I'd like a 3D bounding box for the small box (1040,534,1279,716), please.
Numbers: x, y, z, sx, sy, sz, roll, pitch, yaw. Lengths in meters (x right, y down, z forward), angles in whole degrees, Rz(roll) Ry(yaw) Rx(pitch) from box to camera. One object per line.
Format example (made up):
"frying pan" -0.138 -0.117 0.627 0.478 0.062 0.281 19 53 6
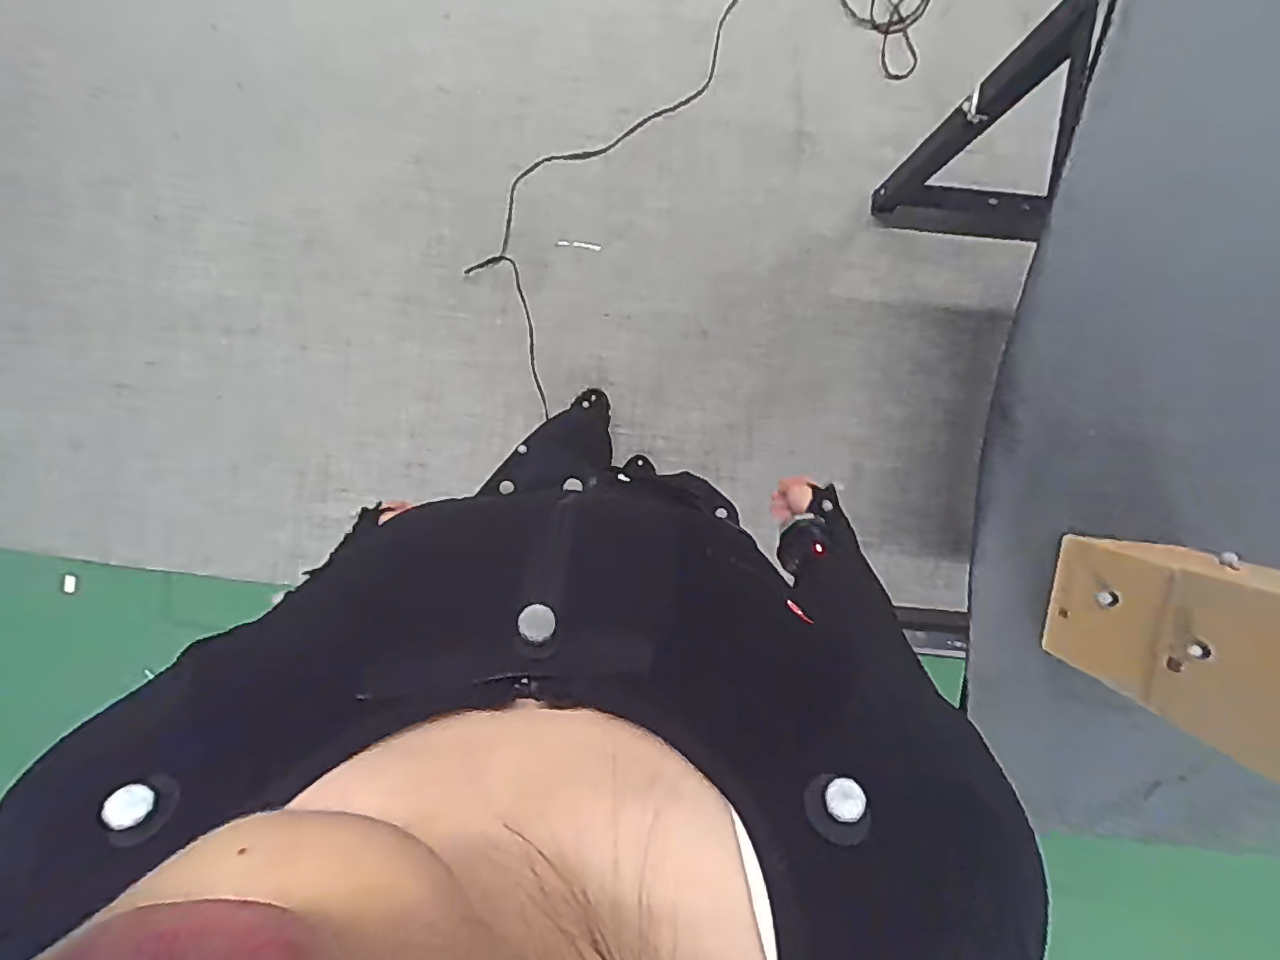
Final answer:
"small box" 0.651 0.167 0.675 0.179 0.176 0.168 6 96 -2
